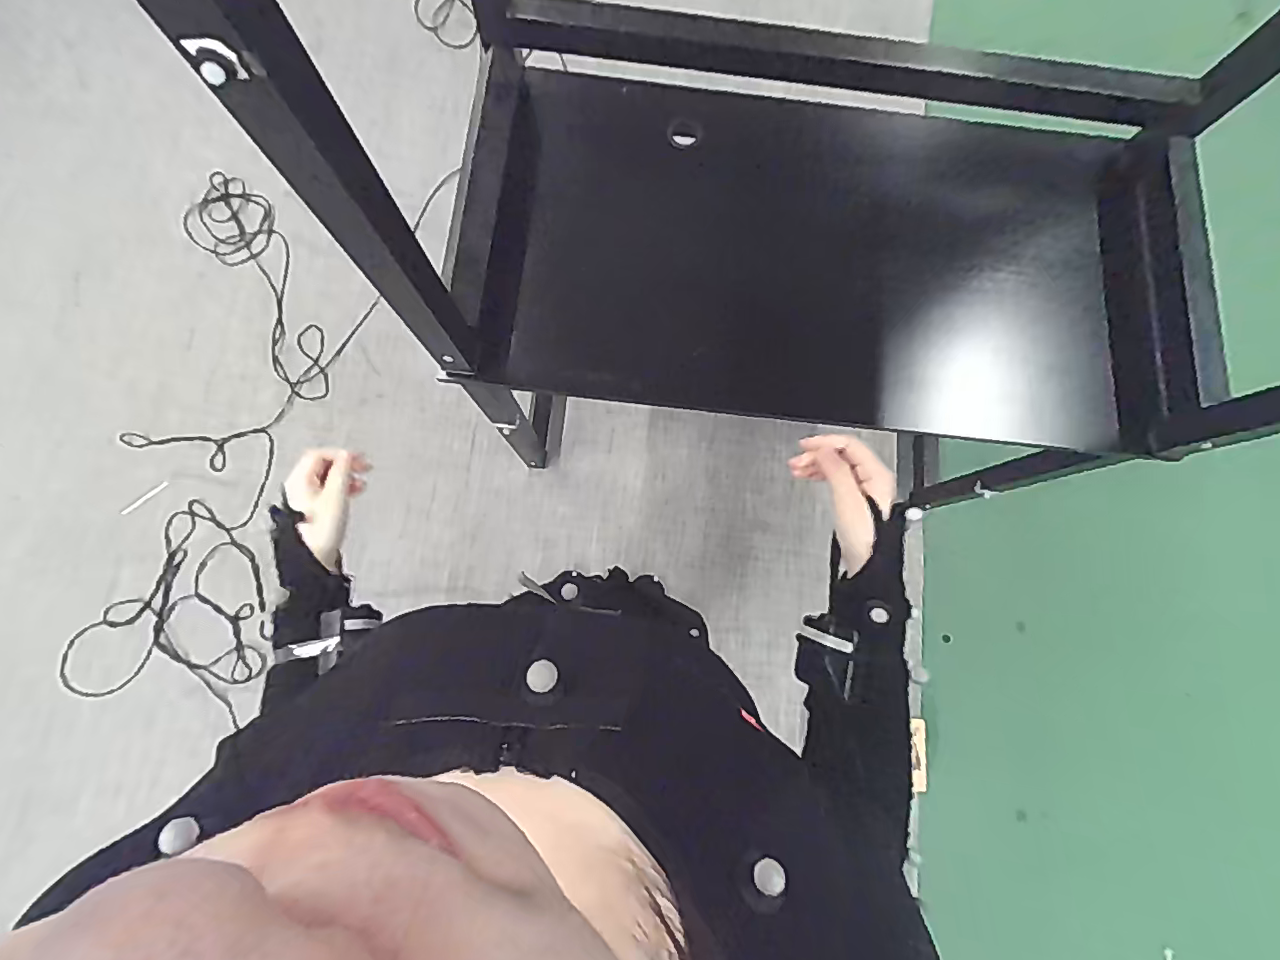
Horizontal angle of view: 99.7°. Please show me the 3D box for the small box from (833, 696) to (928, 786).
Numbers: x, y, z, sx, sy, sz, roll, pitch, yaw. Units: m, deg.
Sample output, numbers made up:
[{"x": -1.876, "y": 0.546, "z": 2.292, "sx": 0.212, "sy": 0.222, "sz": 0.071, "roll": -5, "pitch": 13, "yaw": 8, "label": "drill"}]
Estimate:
[{"x": 0.604, "y": 0.657, "z": 1.378, "sx": 0.179, "sy": 0.176, "sz": 0.168, "roll": 5, "pitch": 79, "yaw": 0, "label": "small box"}]
